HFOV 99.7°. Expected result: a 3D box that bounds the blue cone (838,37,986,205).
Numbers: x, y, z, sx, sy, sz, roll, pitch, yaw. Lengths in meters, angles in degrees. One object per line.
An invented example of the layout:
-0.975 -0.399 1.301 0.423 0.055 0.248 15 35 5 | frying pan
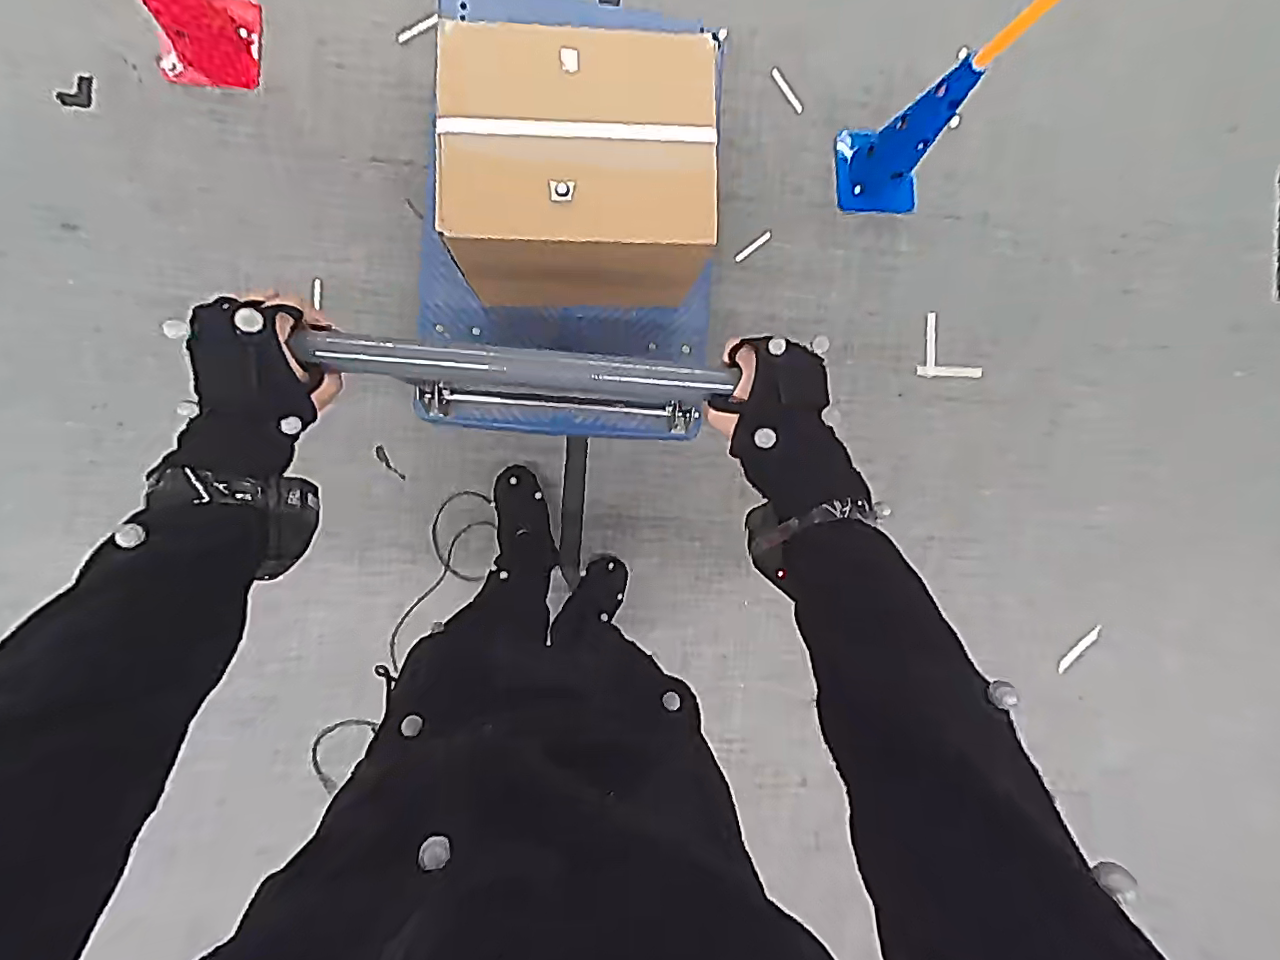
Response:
0.598 -0.775 1.167 0.193 0.380 0.192 -1 89 -6 | blue cone
